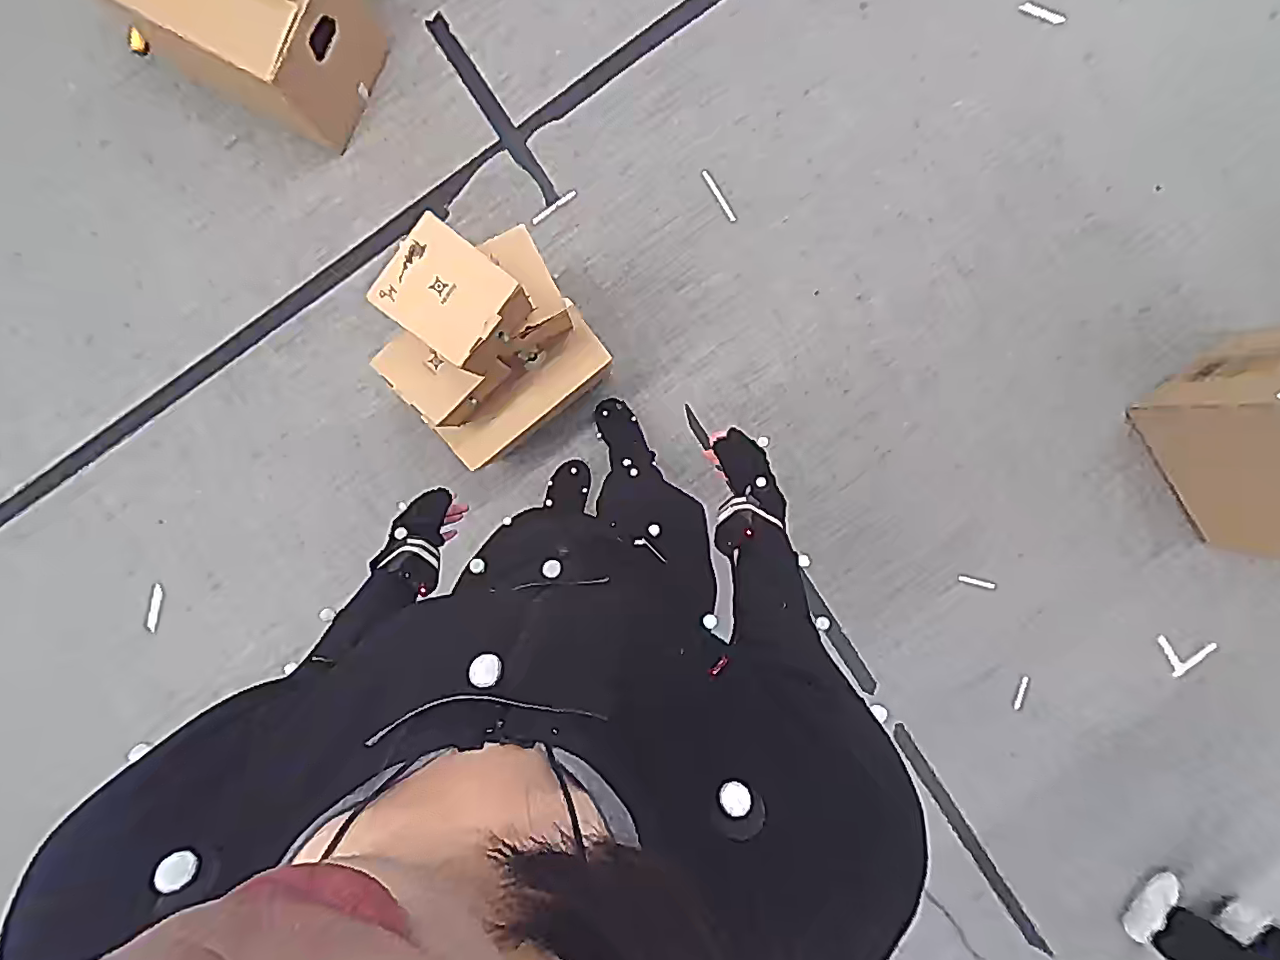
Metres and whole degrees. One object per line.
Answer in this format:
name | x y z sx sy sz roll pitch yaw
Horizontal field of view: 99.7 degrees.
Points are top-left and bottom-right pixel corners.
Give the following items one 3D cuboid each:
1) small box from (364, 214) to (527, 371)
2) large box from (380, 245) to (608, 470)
small box | -0.309 -0.298 0.906 0.179 0.176 0.168 37 92 -8
large box | -0.327 -0.274 1.317 0.408 0.320 0.320 -40 98 -1
